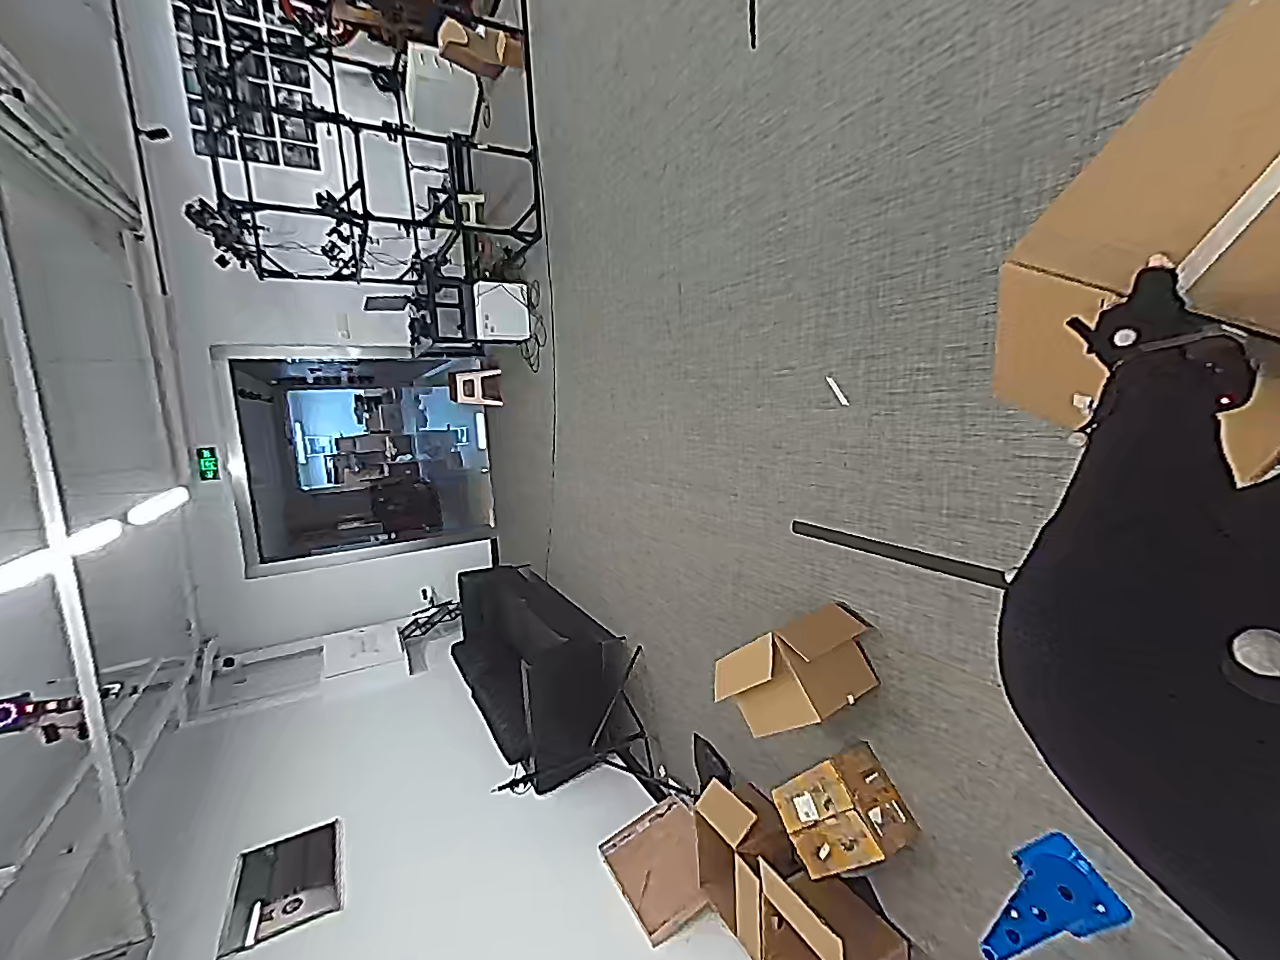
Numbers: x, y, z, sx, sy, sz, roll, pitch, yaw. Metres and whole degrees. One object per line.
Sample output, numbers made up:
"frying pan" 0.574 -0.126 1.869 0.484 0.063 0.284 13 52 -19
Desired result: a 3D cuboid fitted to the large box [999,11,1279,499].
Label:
"large box" 0.715 -0.255 0.654 0.408 0.320 0.320 -48 53 0
